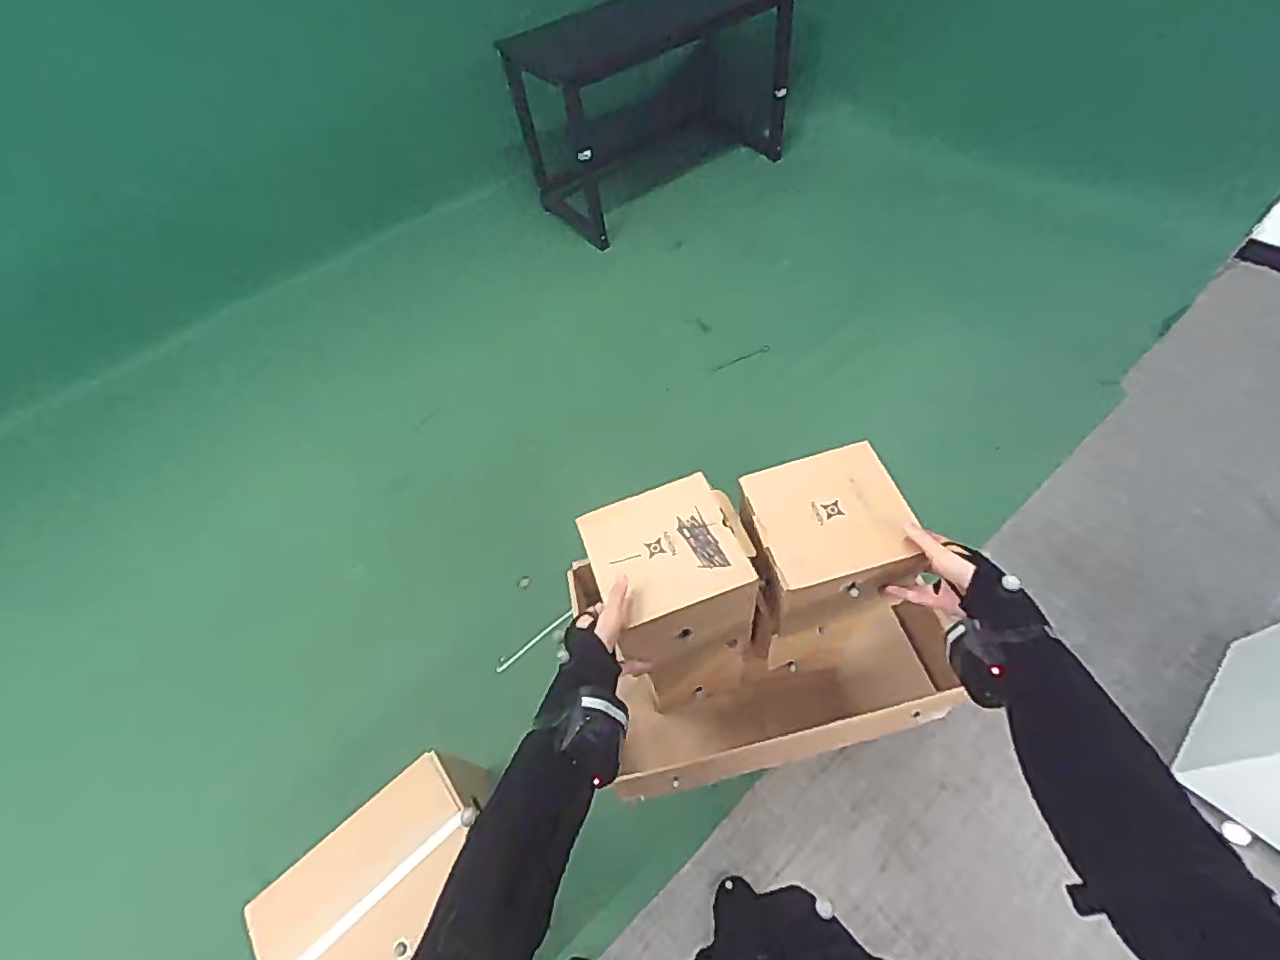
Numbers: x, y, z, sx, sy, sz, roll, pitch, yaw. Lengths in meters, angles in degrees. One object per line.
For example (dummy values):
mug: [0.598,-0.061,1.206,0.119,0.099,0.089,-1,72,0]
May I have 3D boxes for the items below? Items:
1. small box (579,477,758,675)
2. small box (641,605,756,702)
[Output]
small box: [0.036,0.129,0.707,0.179,0.176,0.168,-19,53,-6]
small box: [0.058,0.215,0.845,0.179,0.176,0.168,-27,54,-12]
